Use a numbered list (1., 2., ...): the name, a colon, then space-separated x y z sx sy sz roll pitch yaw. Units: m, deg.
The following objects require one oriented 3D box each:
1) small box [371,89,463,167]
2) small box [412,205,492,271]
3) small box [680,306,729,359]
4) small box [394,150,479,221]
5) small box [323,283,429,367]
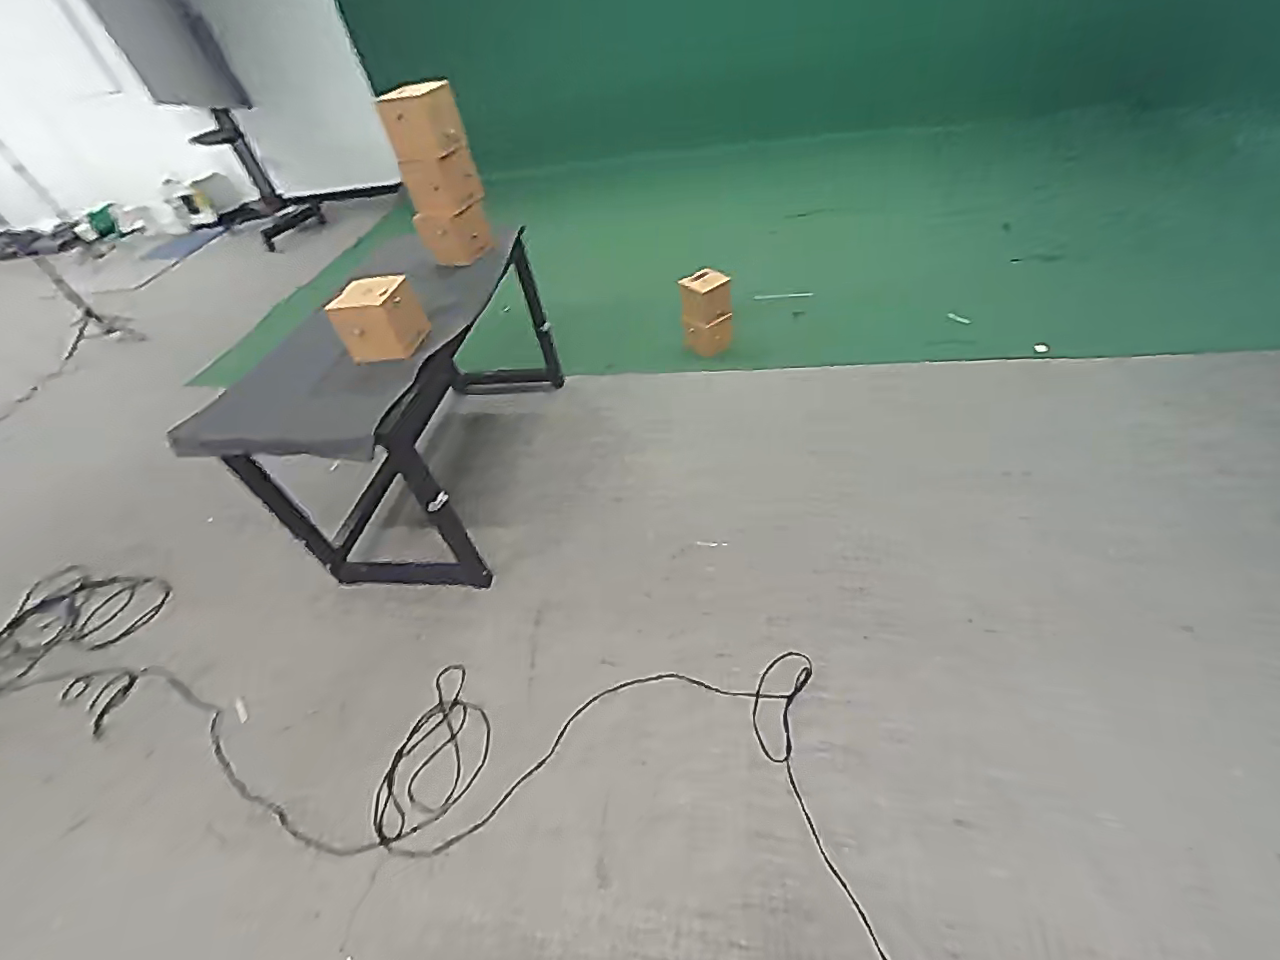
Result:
1. small box: -0.694 -1.104 1.704 0.179 0.176 0.168 6 48 18
2. small box: -0.661 -0.860 1.920 0.179 0.176 0.168 14 51 26
3. small box: 0.315 -0.705 2.603 0.168 0.176 0.179 -33 48 -19
4. small box: -0.675 -0.985 1.816 0.179 0.176 0.168 9 48 23
5. small box: -0.738 -0.434 1.530 0.179 0.176 0.168 -2 46 12
